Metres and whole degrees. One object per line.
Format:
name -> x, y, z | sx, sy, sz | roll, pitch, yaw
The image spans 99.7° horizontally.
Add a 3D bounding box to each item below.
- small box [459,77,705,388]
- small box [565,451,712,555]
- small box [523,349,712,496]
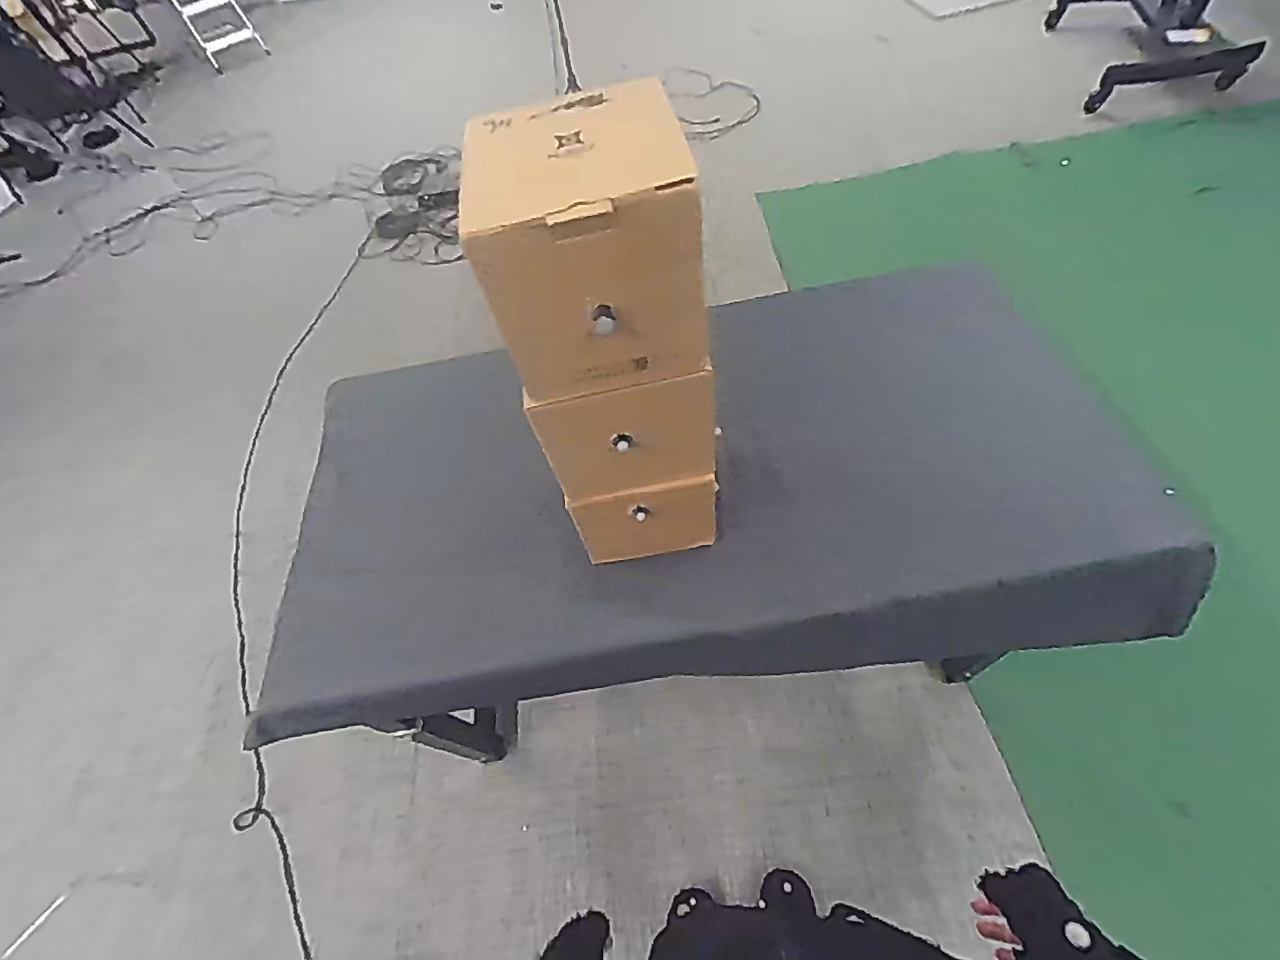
small box -> -0.041, -0.198, 0.465 | 0.168, 0.176, 0.179 | -11, 58, 2
small box -> -0.001, -0.011, 0.732 | 0.179, 0.176, 0.168 | -9, 57, 1
small box -> -0.021, -0.103, 0.597 | 0.179, 0.176, 0.168 | -12, 57, 2
